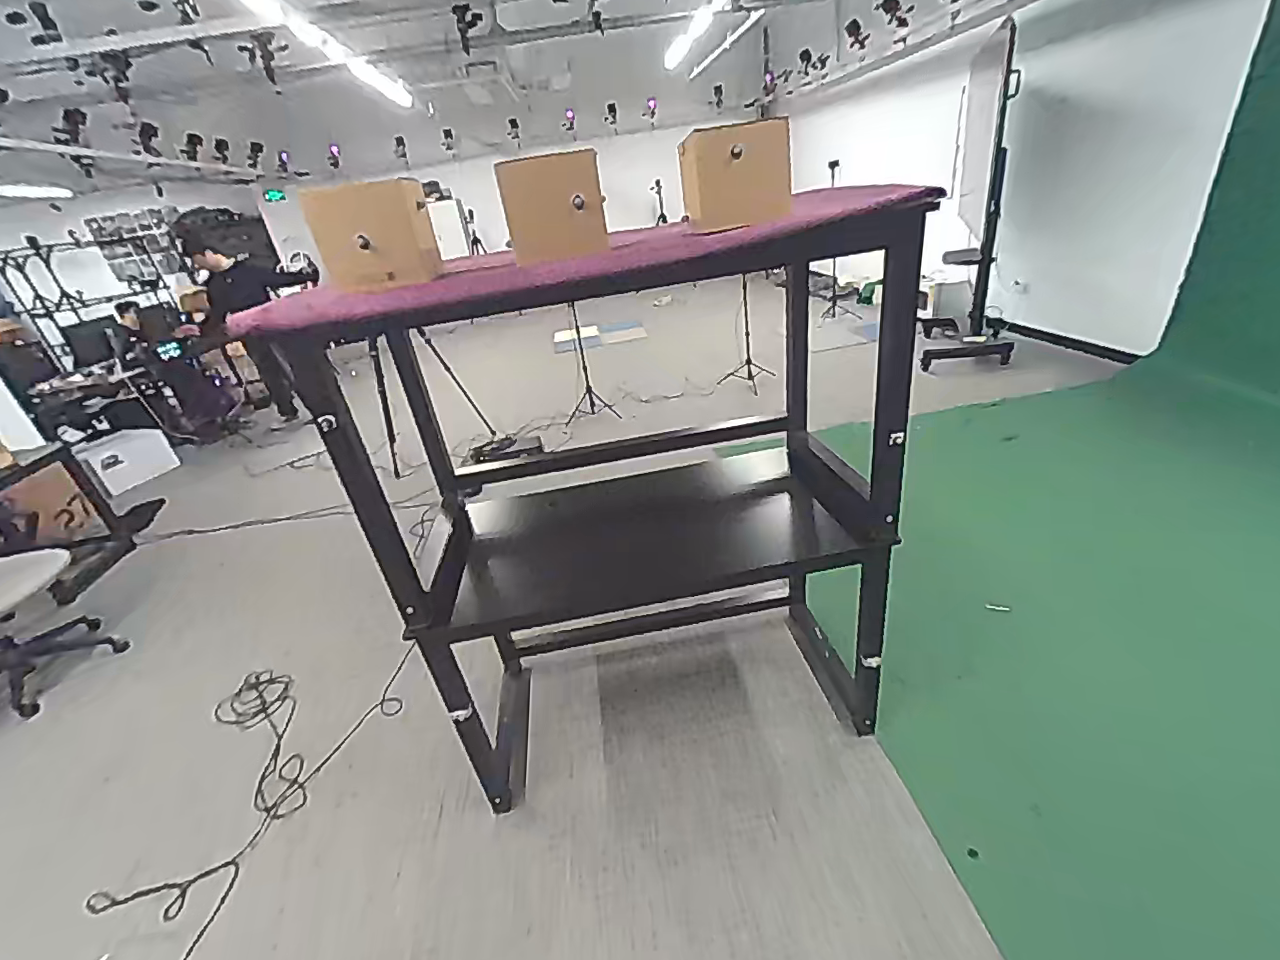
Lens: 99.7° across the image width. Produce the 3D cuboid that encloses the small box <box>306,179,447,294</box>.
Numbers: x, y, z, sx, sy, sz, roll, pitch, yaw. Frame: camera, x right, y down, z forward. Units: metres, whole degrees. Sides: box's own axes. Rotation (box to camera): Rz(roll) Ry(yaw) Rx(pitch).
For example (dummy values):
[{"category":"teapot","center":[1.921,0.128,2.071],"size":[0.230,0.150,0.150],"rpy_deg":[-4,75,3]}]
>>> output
[{"category":"small box","center":[-0.468,-0.446,0.996],"size":[0.168,0.176,0.179],"rpy_deg":[-9,27,-5]}]

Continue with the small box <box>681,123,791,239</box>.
[{"category":"small box","center":[0.186,-0.575,1.062],"size":[0.179,0.176,0.168],"rpy_deg":[-9,25,-2]}]

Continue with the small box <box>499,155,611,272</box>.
[{"category":"small box","center":[-0.153,-0.501,1.023],"size":[0.179,0.176,0.168],"rpy_deg":[-11,27,-4]}]
